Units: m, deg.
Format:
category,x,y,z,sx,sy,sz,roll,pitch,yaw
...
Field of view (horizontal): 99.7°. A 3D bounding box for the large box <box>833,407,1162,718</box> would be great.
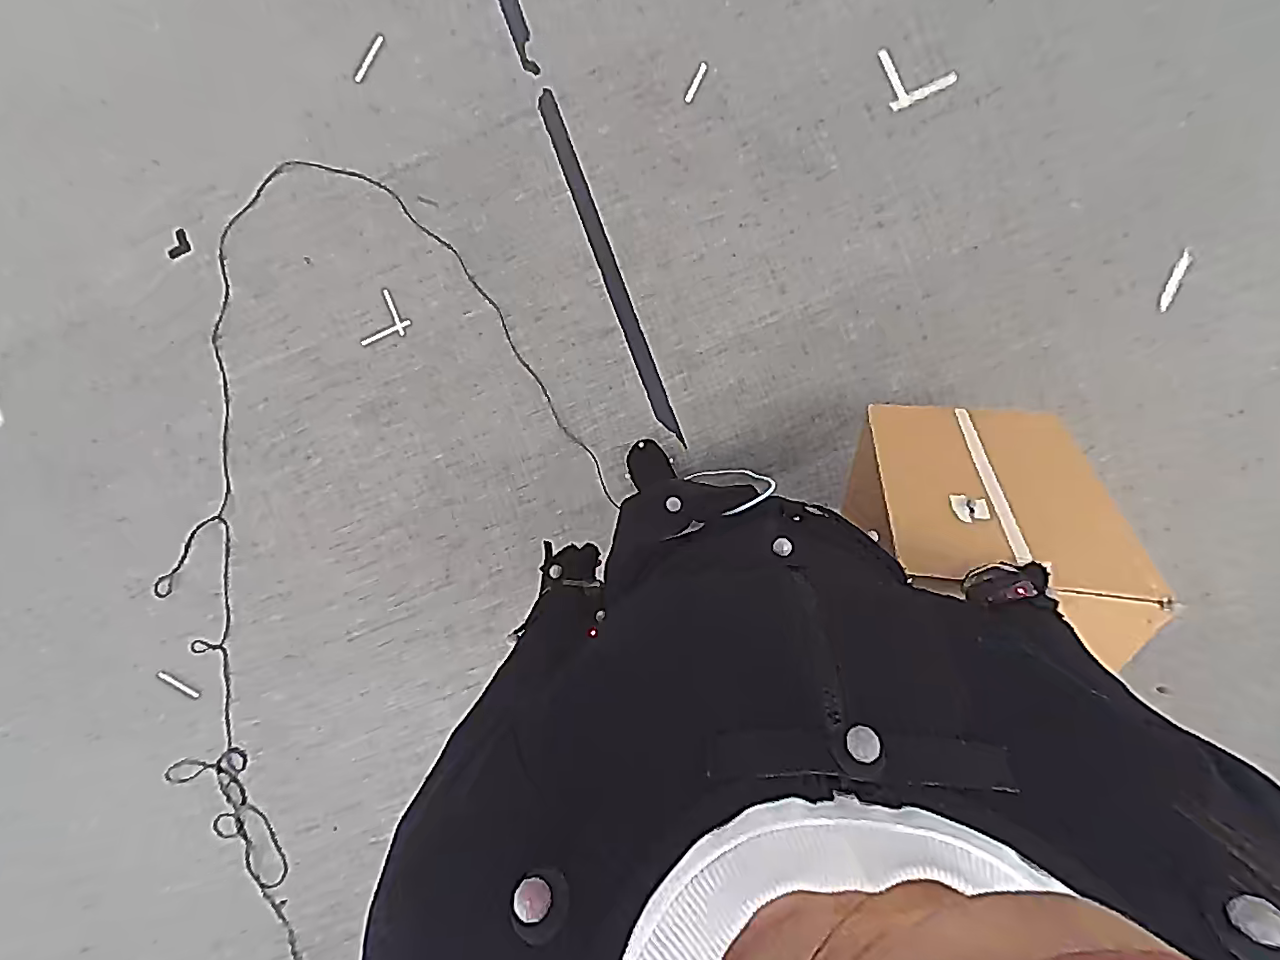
category,x,y,z,sx,sy,sz,roll,pitch,yaw
large box,0.524,0.120,0.915,0.320,0.408,0.320,4,133,12
